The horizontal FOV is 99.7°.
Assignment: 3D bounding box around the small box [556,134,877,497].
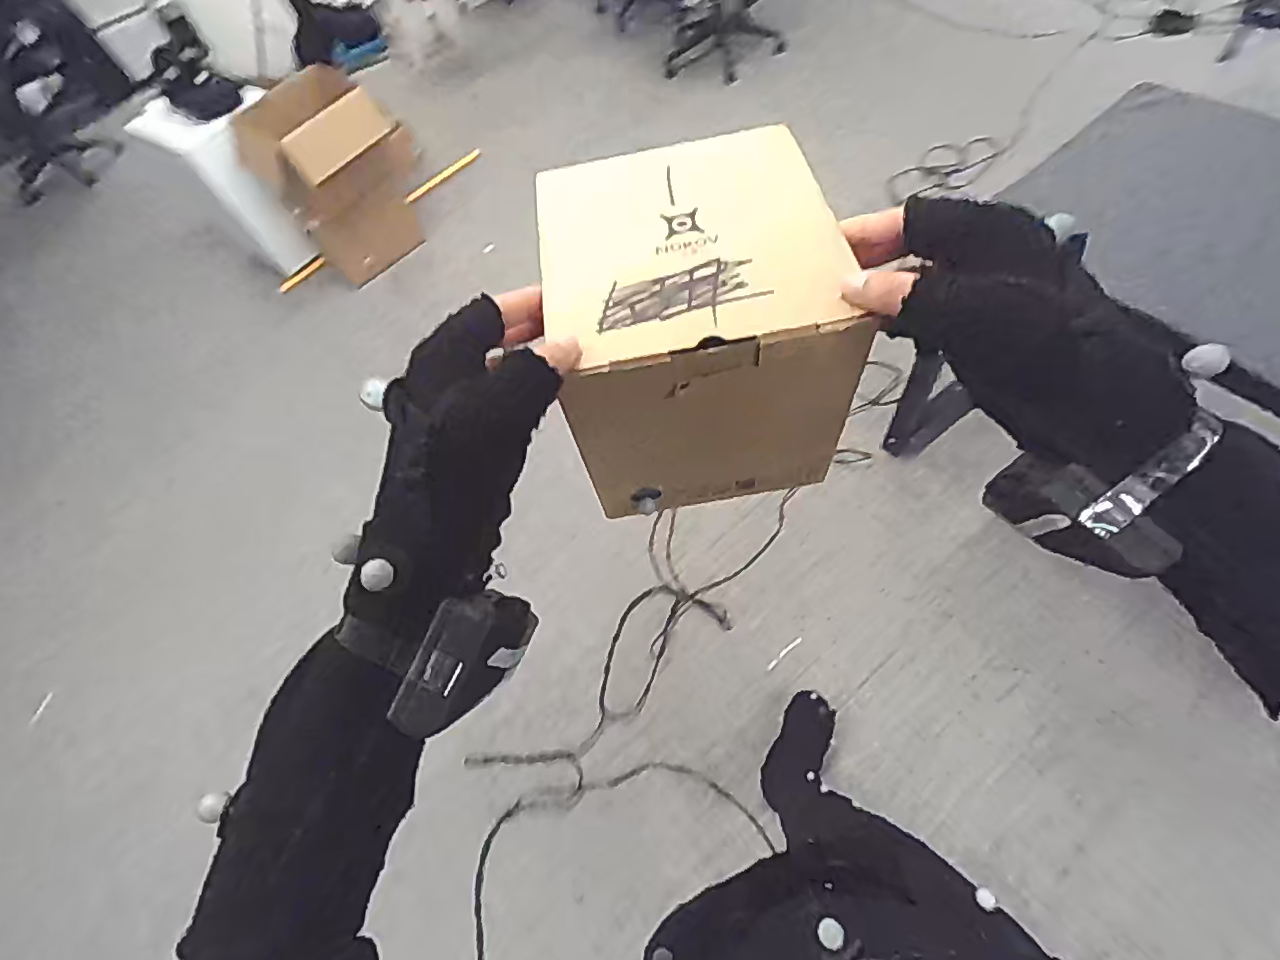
[{"bbox_3d":[0.043,-0.101,0.385,0.168,0.176,0.179,-9,59,3],"label":"small box"}]
